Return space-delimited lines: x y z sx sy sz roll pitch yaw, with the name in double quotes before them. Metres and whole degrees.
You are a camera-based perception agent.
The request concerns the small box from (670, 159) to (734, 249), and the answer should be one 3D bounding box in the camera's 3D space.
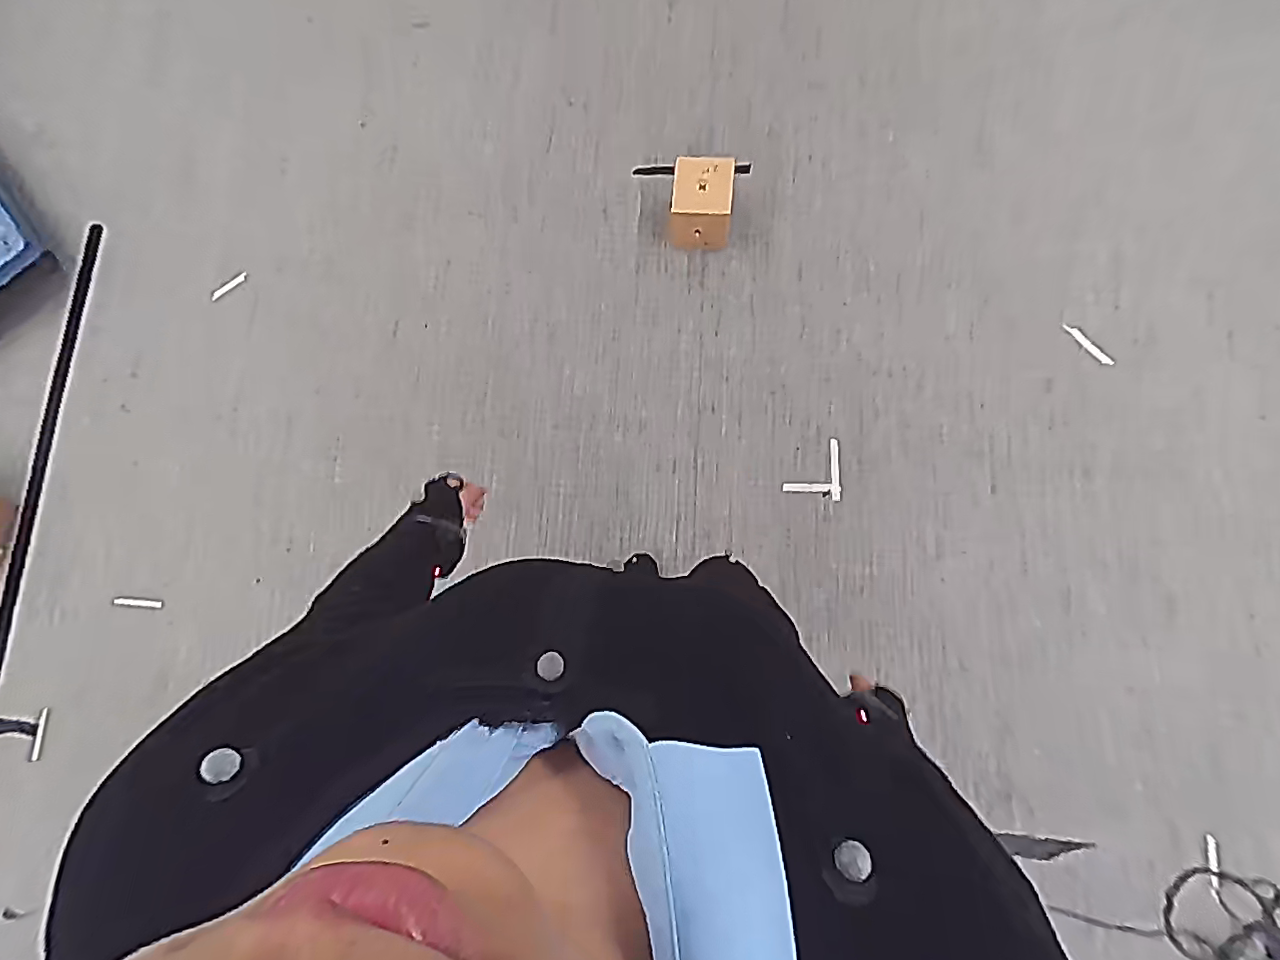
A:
"small box" 0.179 -0.799 1.578 0.168 0.176 0.179 5 81 5
